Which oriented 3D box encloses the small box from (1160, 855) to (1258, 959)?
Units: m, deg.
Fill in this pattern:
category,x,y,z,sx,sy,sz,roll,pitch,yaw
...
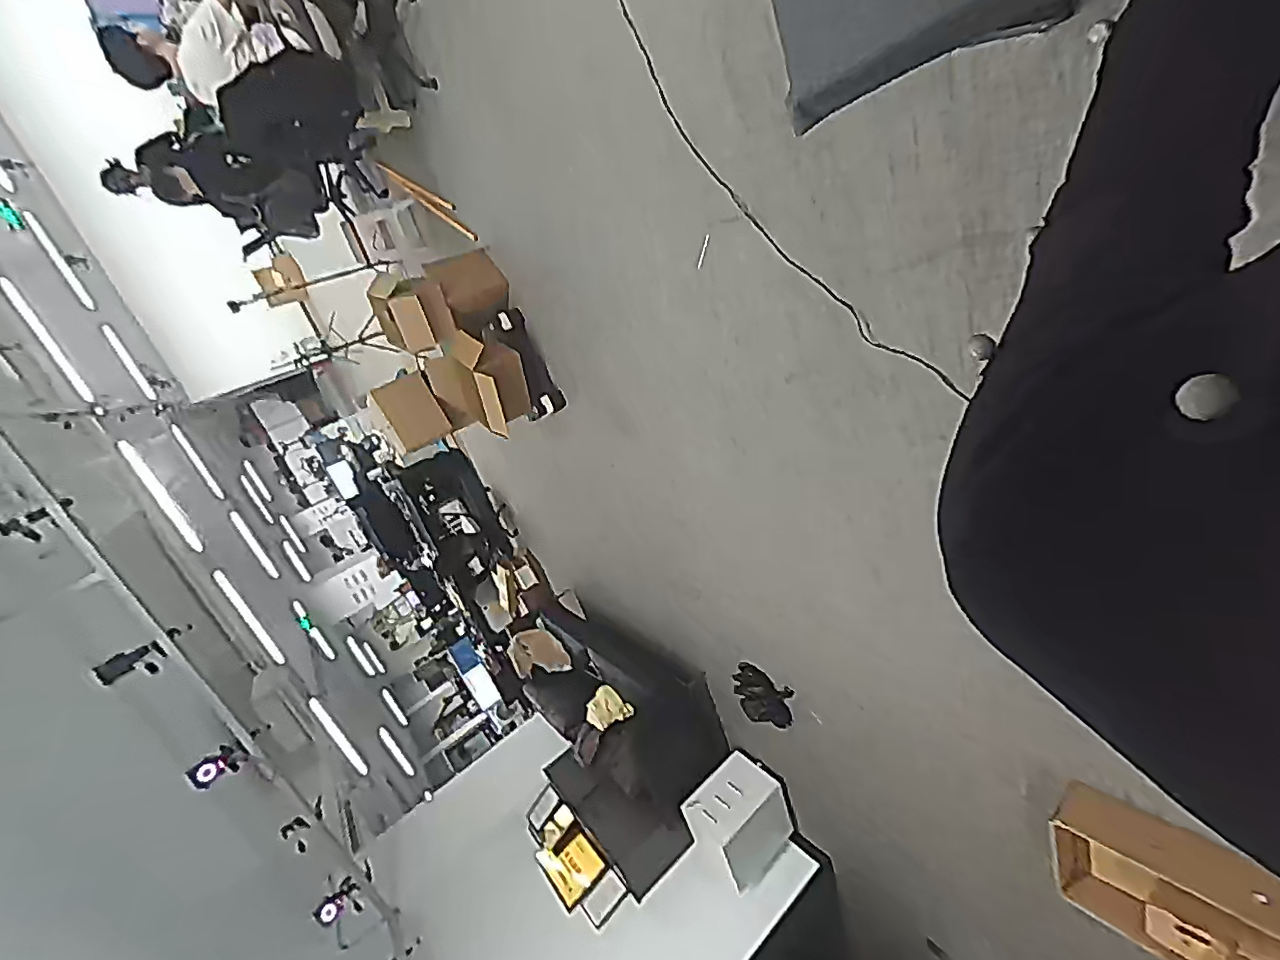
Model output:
category,x,y,z,sx,sy,sz,roll,pitch,yaw
small box,1.599,1.216,1.522,0.168,0.176,0.179,10,127,56
